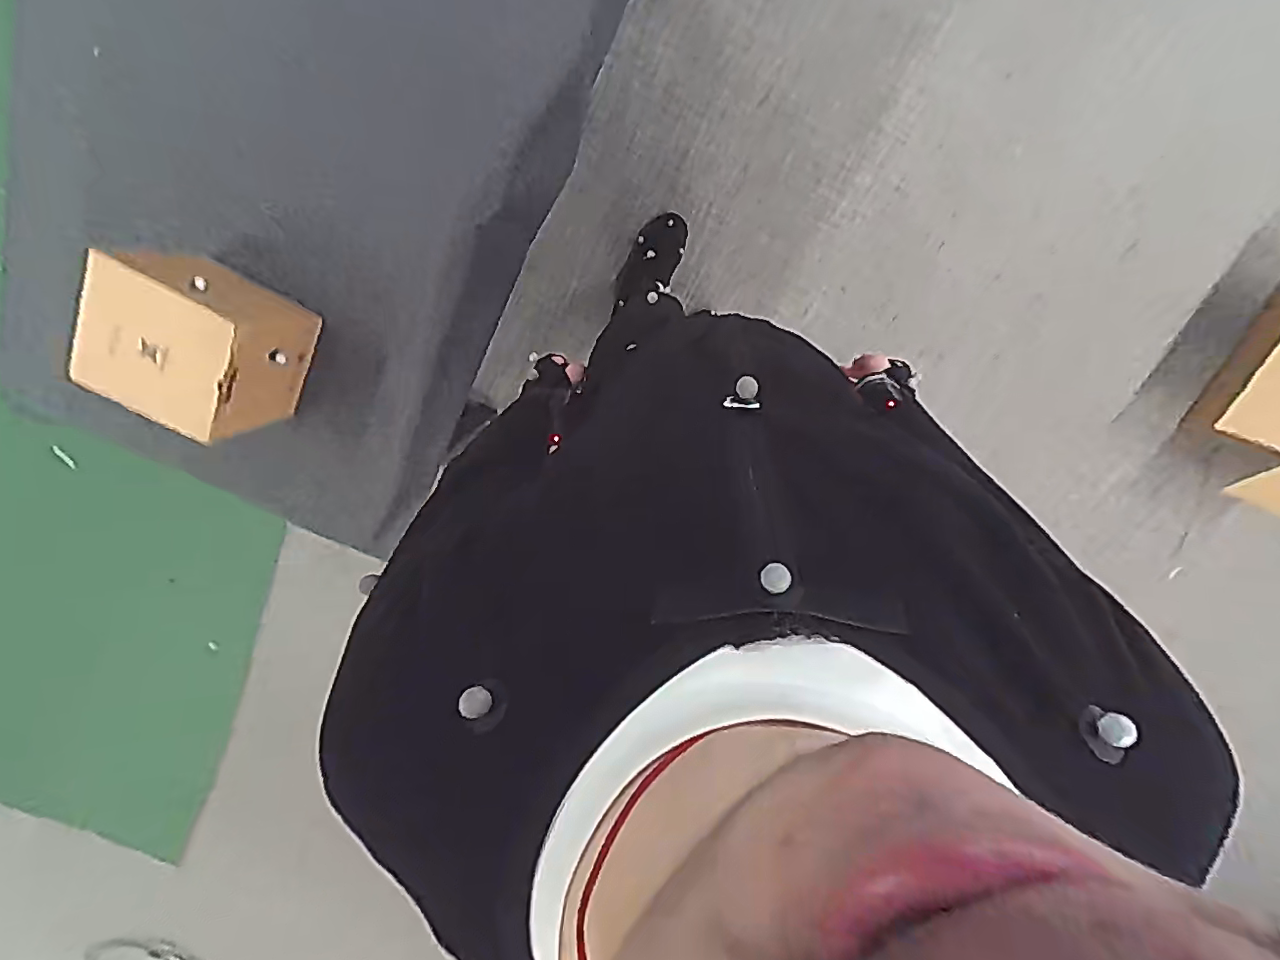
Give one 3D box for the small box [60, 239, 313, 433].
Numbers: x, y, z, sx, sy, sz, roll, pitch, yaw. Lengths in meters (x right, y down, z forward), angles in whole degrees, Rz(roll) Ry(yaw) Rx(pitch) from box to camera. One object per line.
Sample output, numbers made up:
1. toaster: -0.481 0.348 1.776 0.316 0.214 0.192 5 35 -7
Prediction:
1. small box: -0.573 -0.188 0.706 0.179 0.176 0.168 28 107 -7
